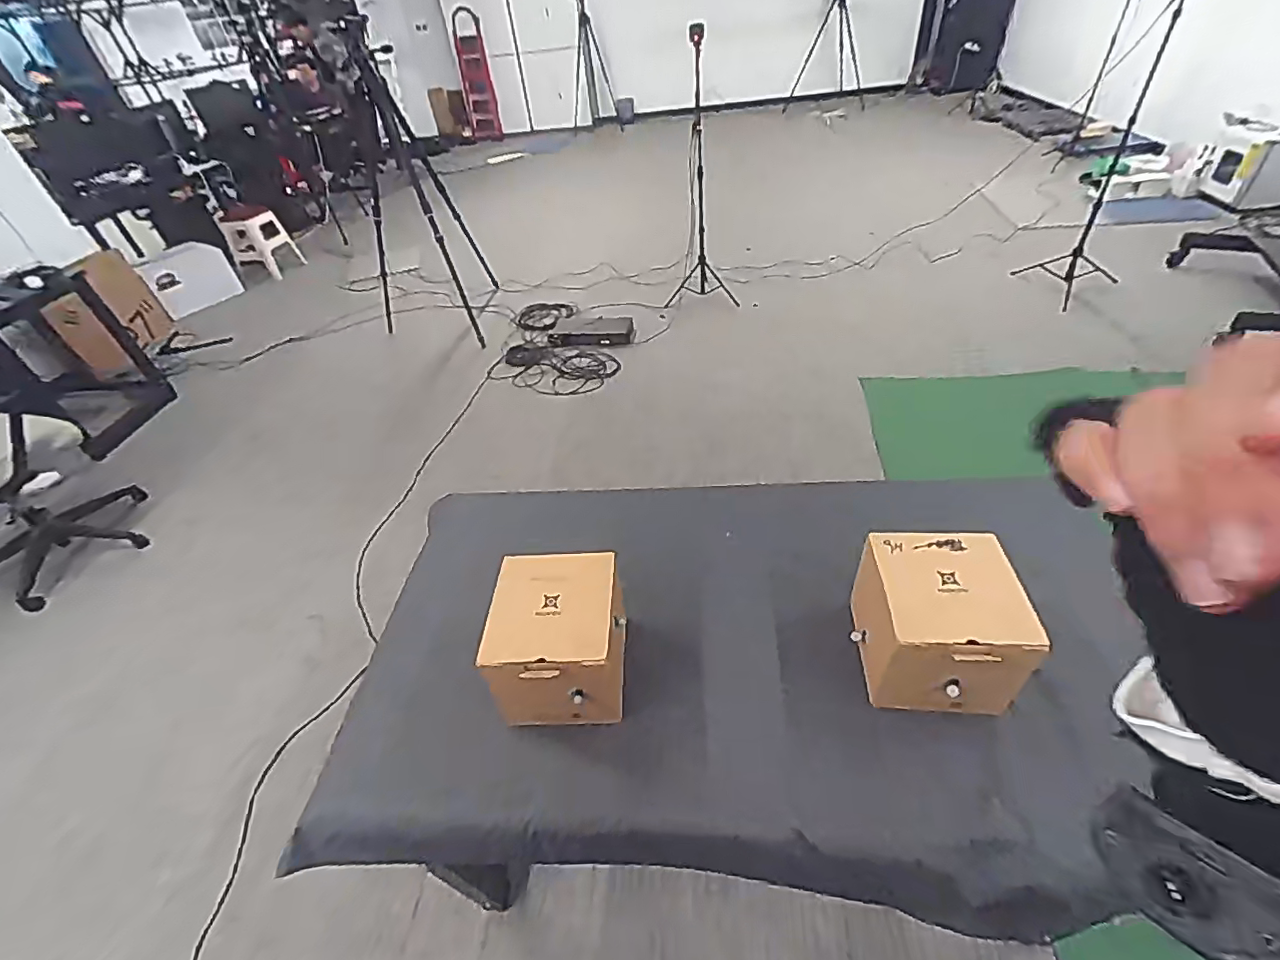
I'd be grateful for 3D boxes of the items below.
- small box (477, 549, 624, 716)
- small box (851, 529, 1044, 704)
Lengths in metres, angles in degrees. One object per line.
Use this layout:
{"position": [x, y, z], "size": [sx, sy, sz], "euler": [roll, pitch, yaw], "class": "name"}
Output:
{"position": [-0.112, 0.221, 0.773], "size": [0.168, 0.176, 0.179], "euler": [-2, 41, 3], "class": "small box"}
{"position": [0.397, 0.186, 0.737], "size": [0.168, 0.176, 0.179], "euler": [0, 44, 8], "class": "small box"}
